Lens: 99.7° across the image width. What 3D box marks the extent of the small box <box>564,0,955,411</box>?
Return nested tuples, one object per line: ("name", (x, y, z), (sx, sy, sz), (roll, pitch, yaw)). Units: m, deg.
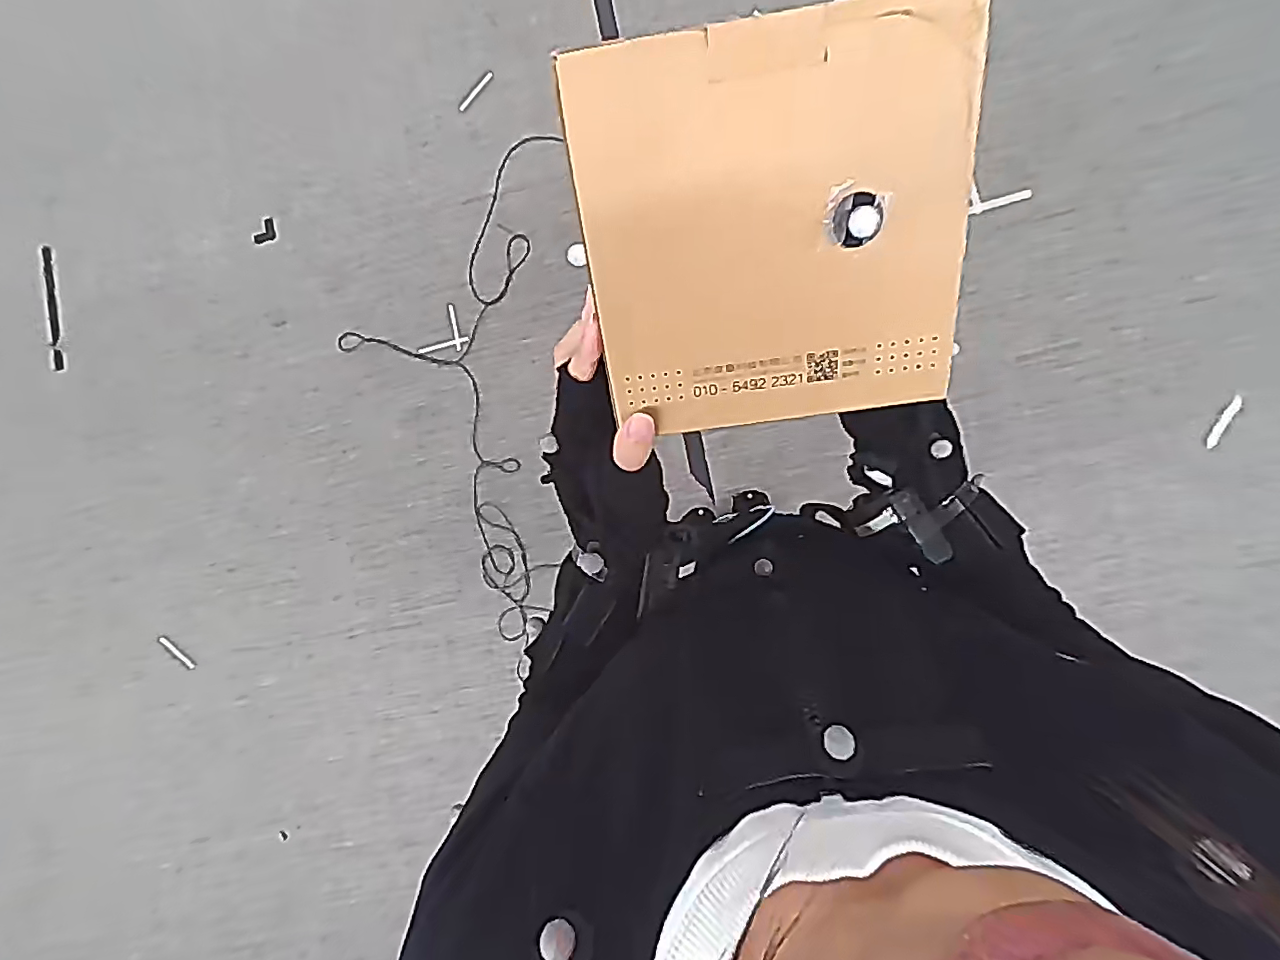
("small box", (0.063, -0.147, 0.331), (0.168, 0.179, 0.176), (-6, 117, 6))
